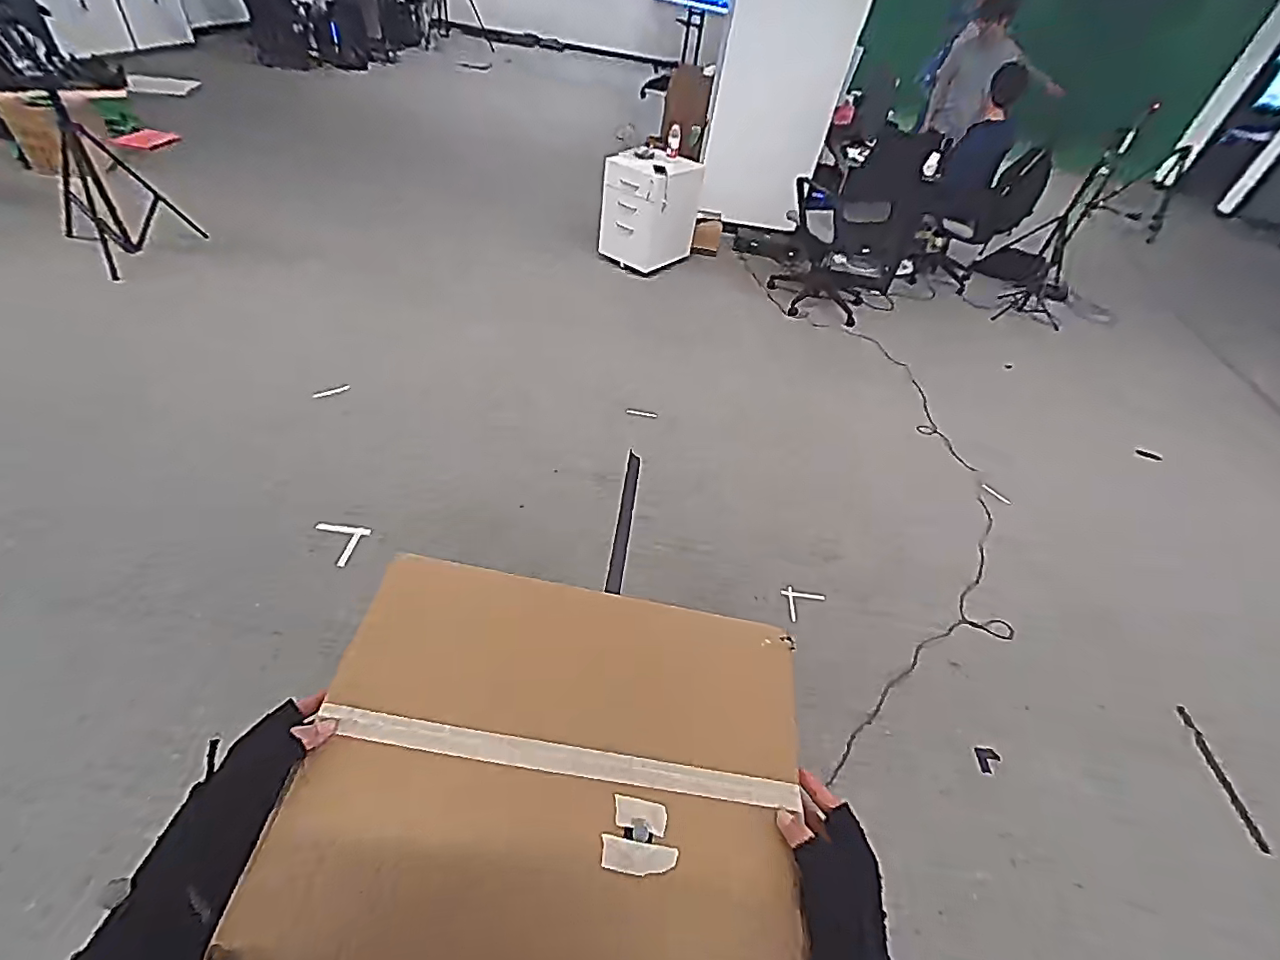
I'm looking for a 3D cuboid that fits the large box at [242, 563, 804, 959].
[{"bbox_3d":[-0.087,0.328,0.580,0.408,0.320,0.320,12,51,-4],"label":"large box"}]
